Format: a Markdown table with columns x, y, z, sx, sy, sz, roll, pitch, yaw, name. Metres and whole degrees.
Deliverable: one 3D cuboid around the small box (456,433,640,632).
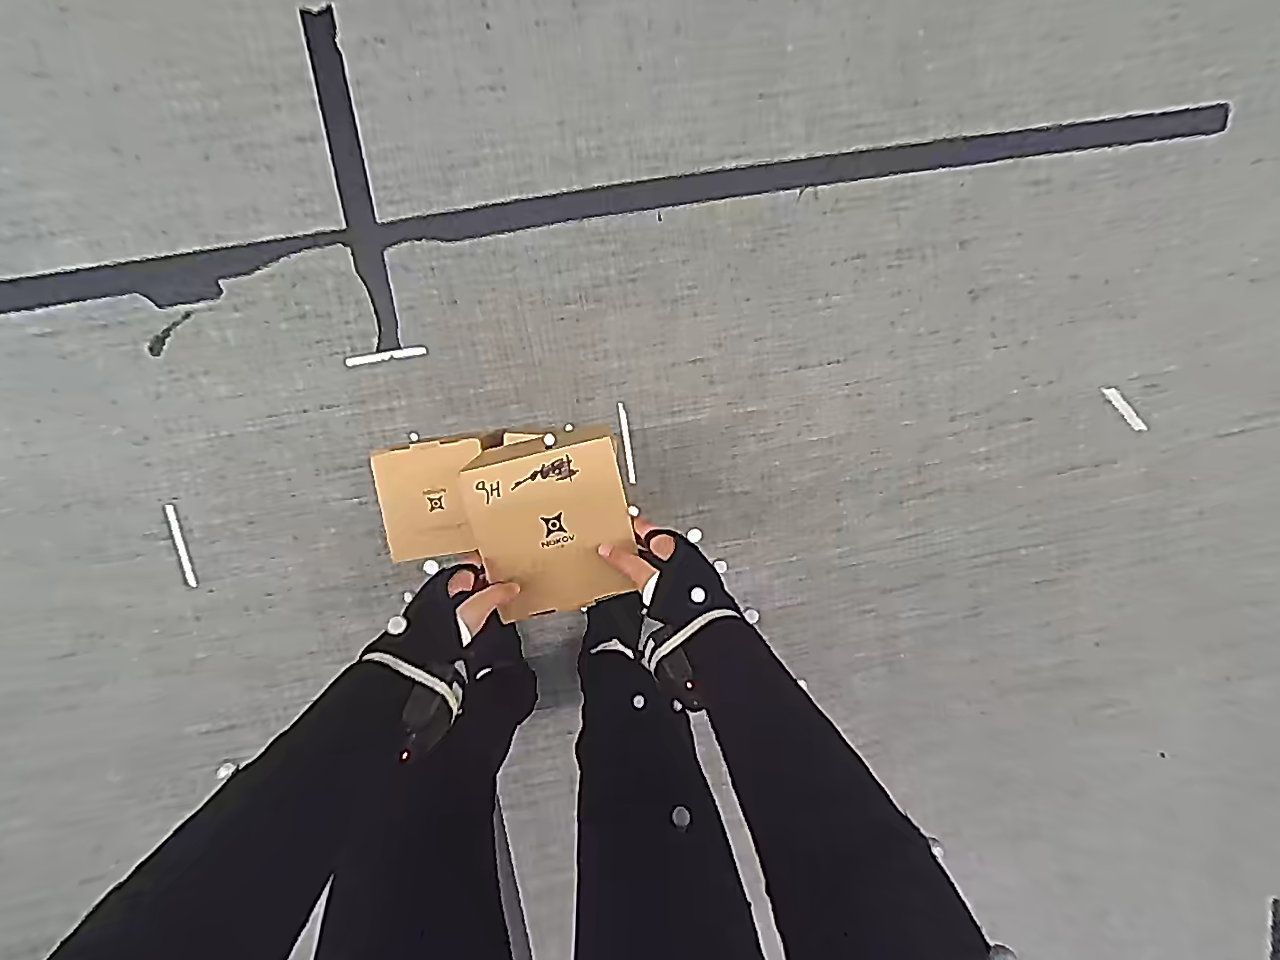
| x | y | z | sx | sy | sz | roll | pitch | yaw | name |
| --- | --- | --- | --- | --- | --- | --- | --- | --- | --- |
| -0.101 | 0.052 | 0.653 | 0.168 | 0.176 | 0.179 | -13 | 102 | -4 | small box |
